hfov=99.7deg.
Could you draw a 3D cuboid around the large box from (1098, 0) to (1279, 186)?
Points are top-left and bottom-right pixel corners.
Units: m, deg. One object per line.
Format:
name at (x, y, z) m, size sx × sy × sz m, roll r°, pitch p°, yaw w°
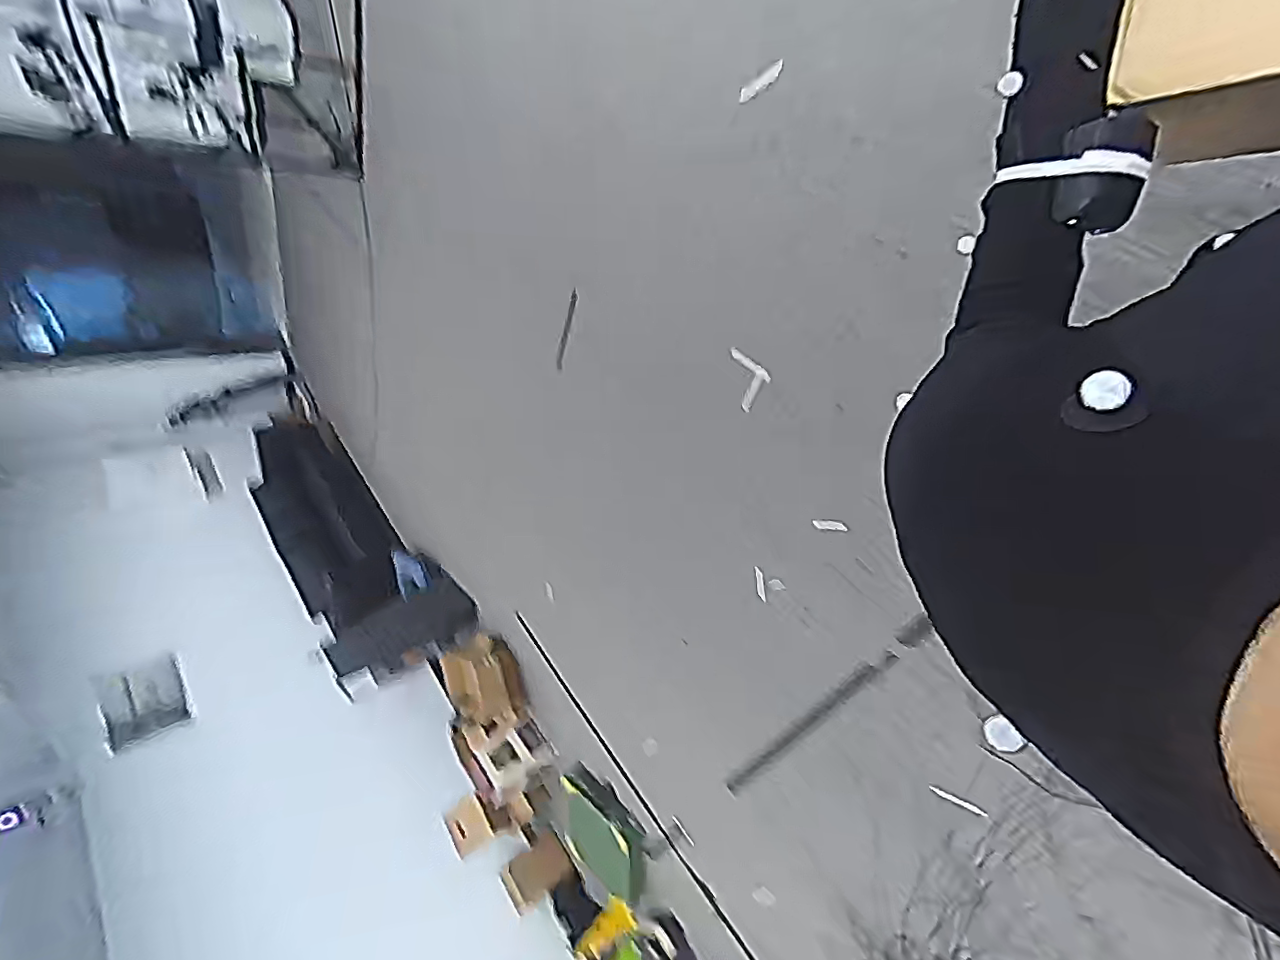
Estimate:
large box at (0.560, -0.390, 0.302) m, size 0.408 × 0.320 × 0.320 m, roll 15°, pitch 115°, yaw 44°
